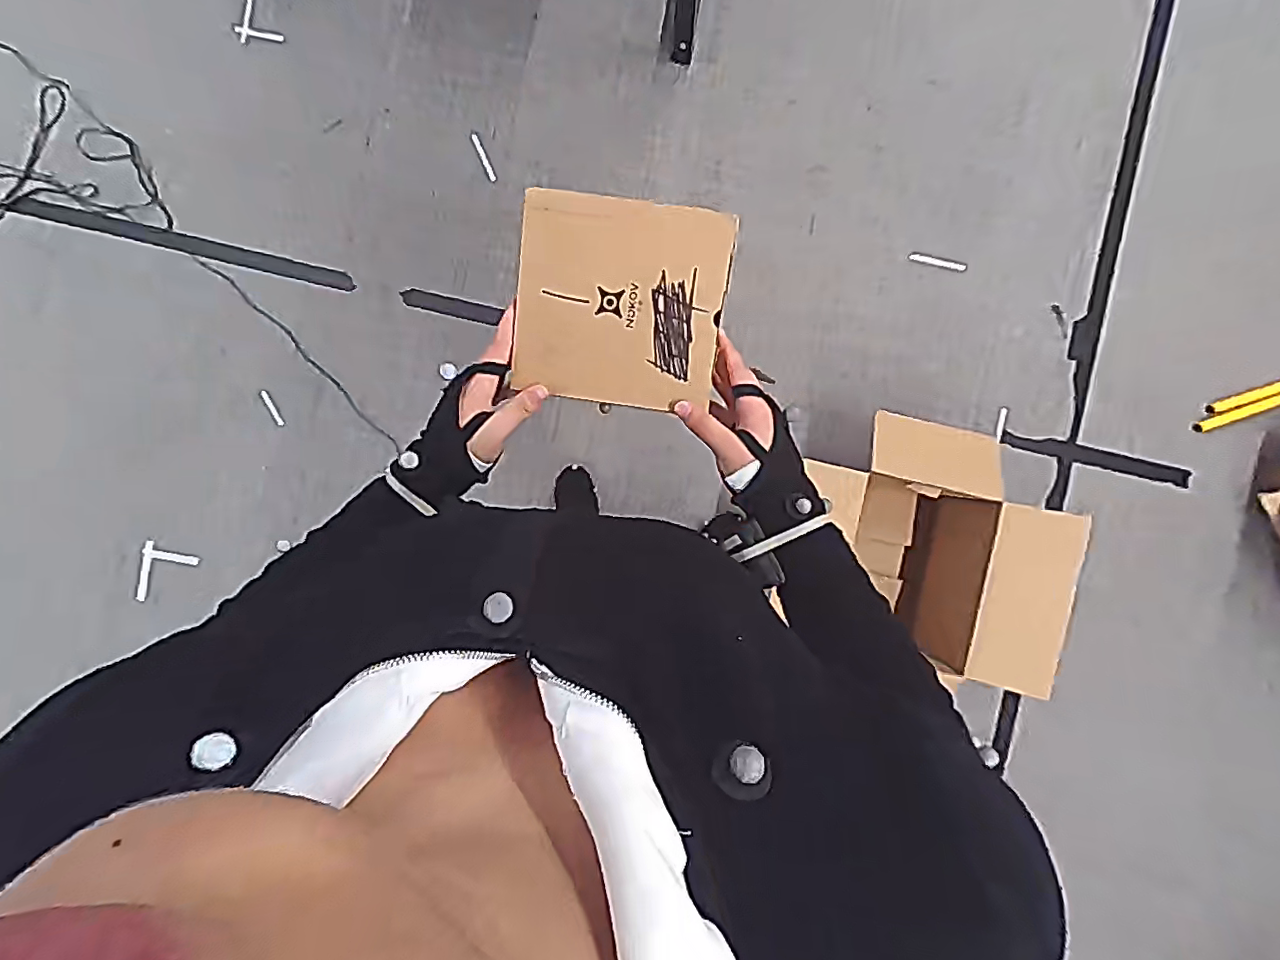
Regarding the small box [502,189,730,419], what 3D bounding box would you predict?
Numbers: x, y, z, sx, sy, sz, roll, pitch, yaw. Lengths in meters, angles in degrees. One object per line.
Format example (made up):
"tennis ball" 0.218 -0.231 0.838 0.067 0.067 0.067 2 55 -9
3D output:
"small box" -0.021 -0.162 0.531 0.179 0.176 0.168 9 102 1
